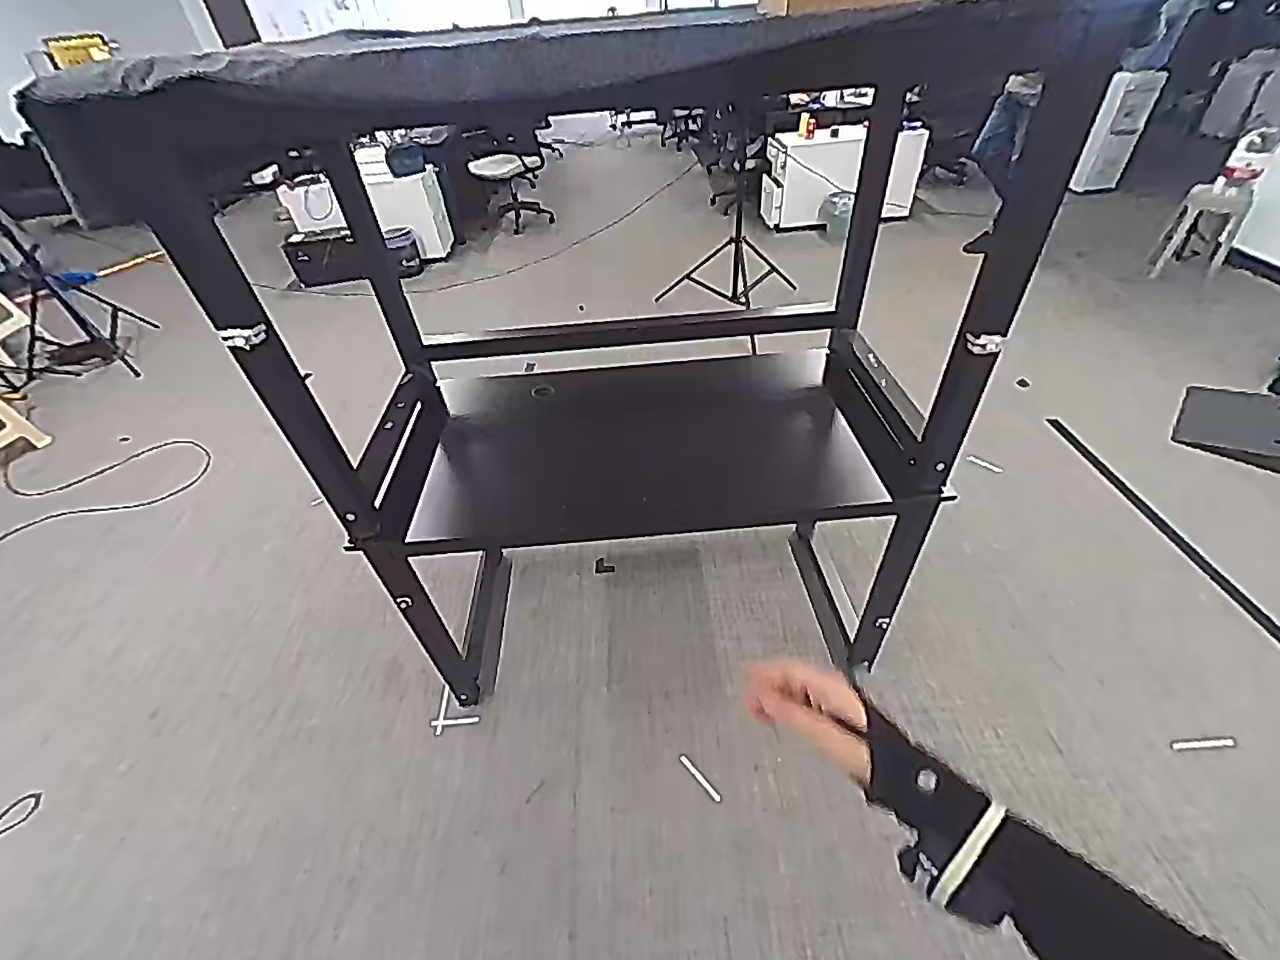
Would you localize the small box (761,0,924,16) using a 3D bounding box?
[{"bbox_3d":[0.236,-0.641,0.610,0.168,0.176,0.179,-5,41,2],"label":"small box"}]
